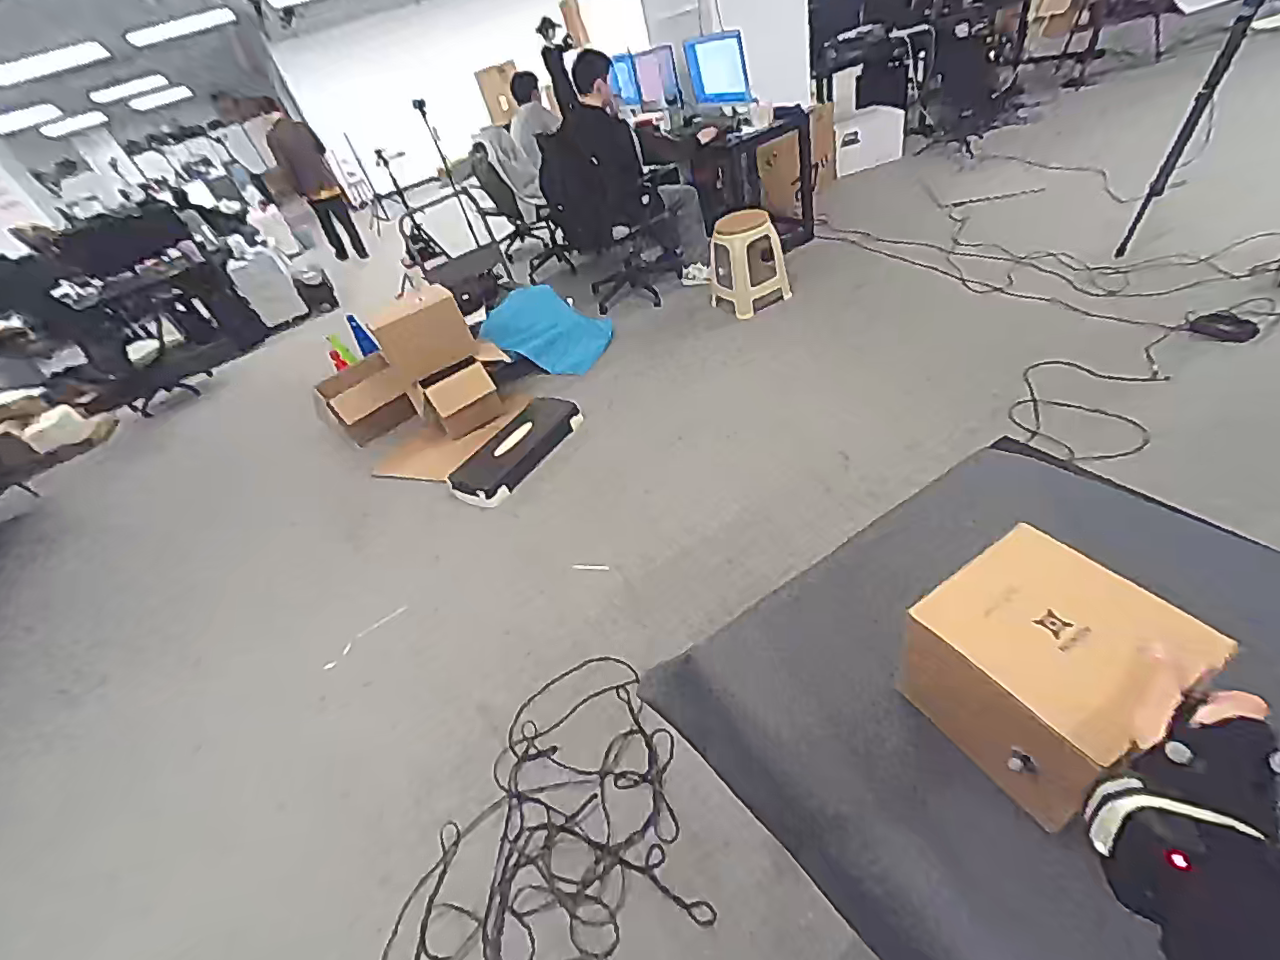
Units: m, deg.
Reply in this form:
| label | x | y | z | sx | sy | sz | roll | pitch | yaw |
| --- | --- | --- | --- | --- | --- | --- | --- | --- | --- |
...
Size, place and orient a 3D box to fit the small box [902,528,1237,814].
| label | x | y | z | sx | sy | sz | roll | pitch | yaw |
| --- | --- | --- | --- | --- | --- | --- | --- | --- | --- |
| small box | 0.384 | 0.186 | 0.522 | 0.168 | 0.176 | 0.179 | -30 | 42 | -13 |
